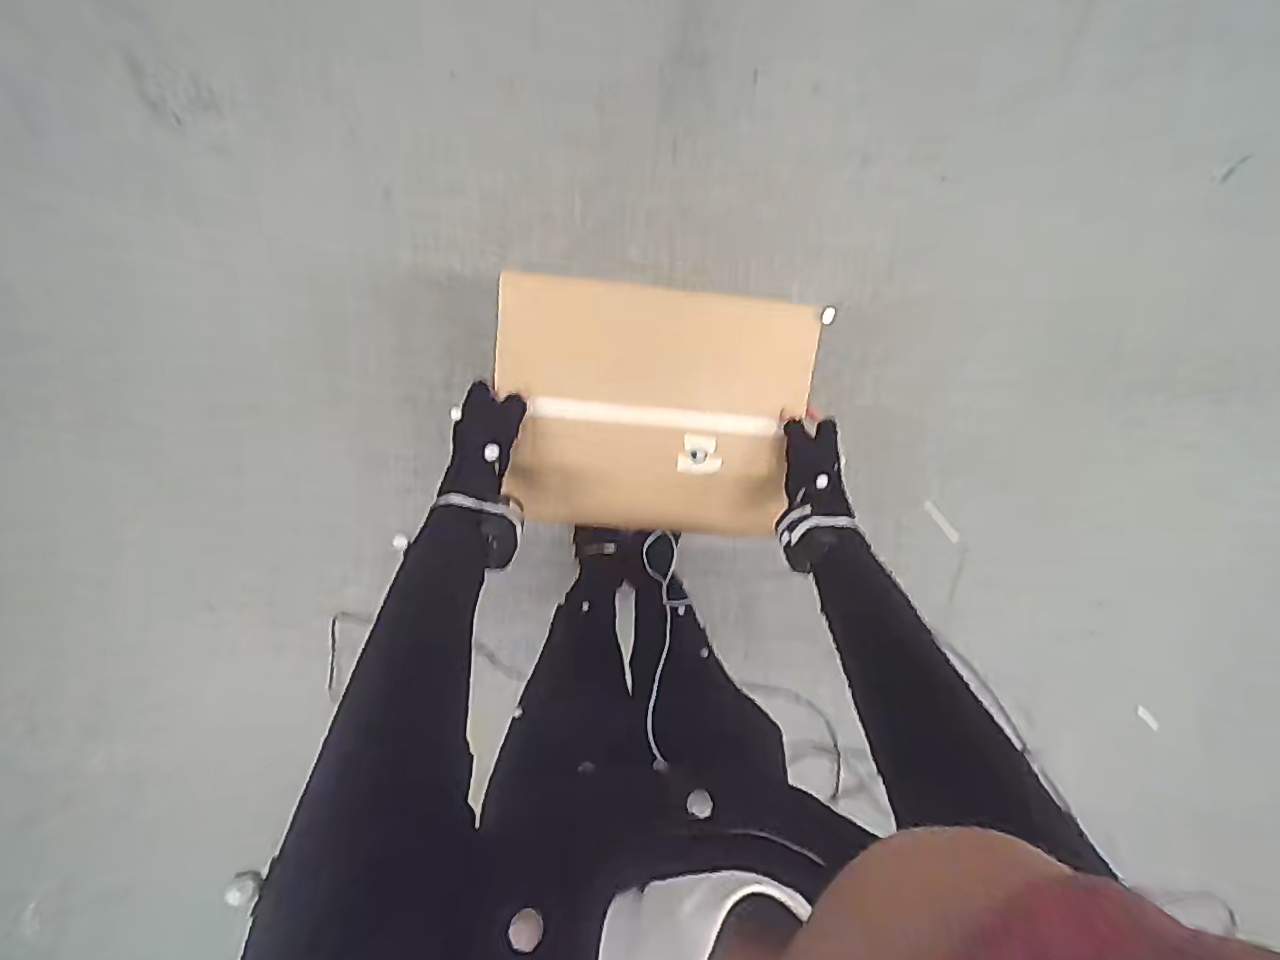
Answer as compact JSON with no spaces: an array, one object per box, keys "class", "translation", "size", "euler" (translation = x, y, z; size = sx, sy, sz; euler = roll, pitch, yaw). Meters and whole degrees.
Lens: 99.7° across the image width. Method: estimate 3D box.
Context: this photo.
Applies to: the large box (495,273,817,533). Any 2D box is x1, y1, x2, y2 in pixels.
[{"class":"large box","translation":[0.006,-0.118,0.844],"size":[0.408,0.320,0.320],"euler":[5,102,-5]}]
